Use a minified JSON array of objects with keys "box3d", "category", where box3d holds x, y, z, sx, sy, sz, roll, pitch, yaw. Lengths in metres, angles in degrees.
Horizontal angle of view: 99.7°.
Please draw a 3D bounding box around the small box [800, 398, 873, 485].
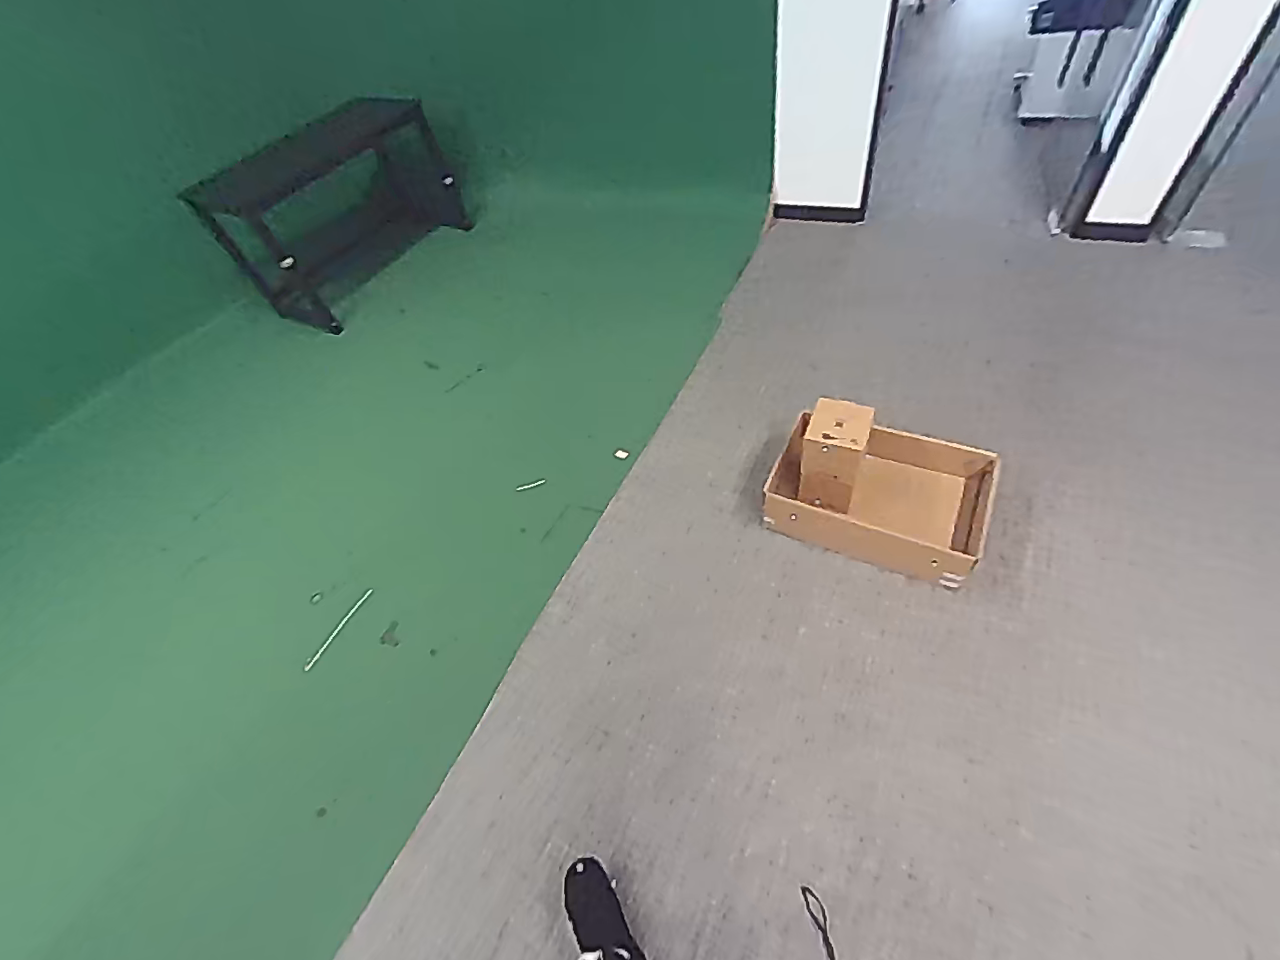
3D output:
[{"box3d":[0.588,-0.115,1.631,0.168,0.176,0.179,16,57,22],"category":"small box"}]
